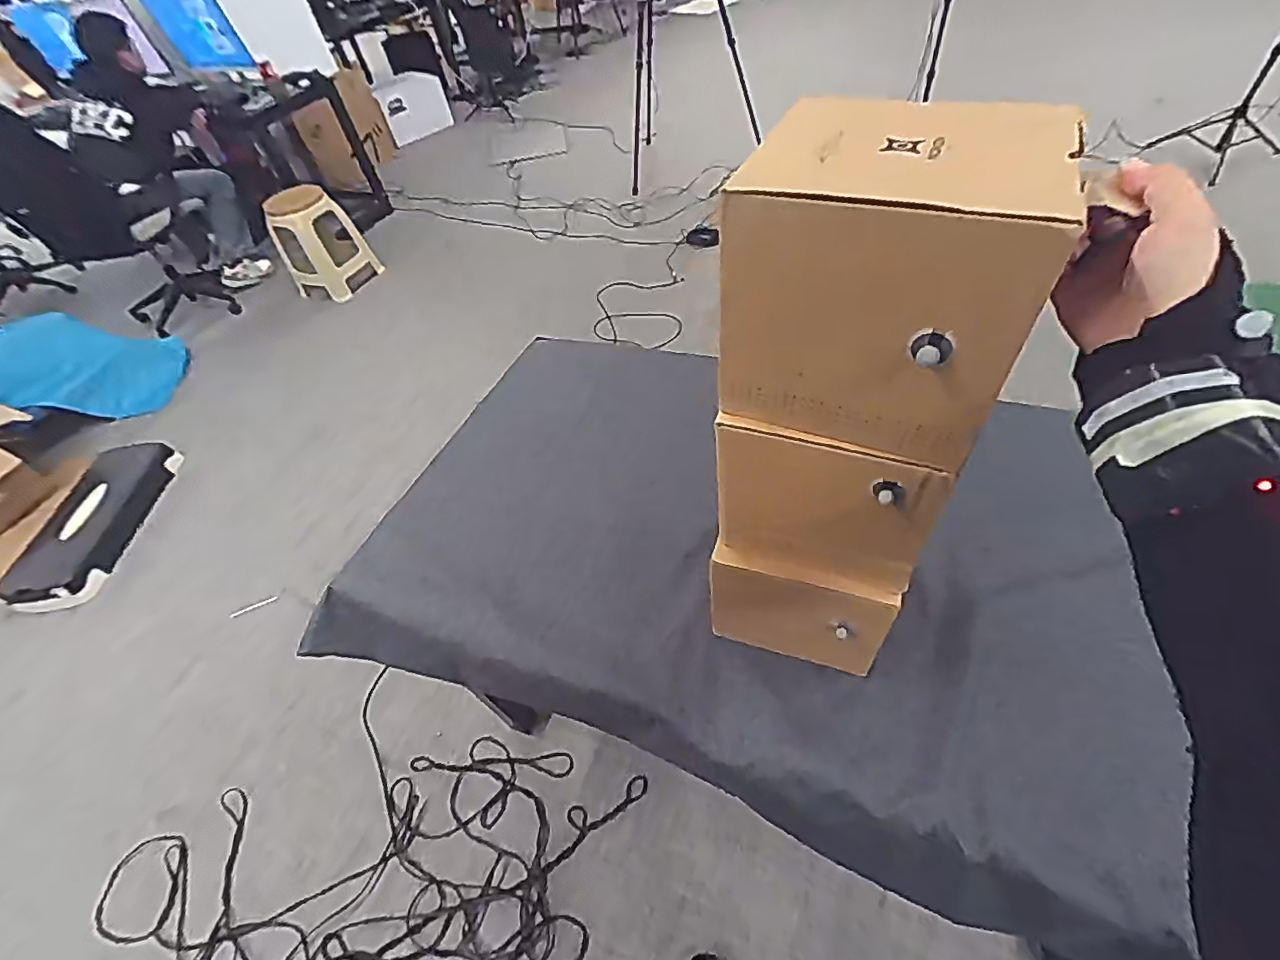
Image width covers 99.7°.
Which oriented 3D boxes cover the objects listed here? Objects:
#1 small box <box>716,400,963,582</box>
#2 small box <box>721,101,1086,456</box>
[{"bbox_3d":[0.178,-0.030,0.497,0.179,0.176,0.168,14,53,19],"label":"small box"},{"bbox_3d":[0.166,-0.139,0.377,0.179,0.176,0.168,16,52,22],"label":"small box"}]
